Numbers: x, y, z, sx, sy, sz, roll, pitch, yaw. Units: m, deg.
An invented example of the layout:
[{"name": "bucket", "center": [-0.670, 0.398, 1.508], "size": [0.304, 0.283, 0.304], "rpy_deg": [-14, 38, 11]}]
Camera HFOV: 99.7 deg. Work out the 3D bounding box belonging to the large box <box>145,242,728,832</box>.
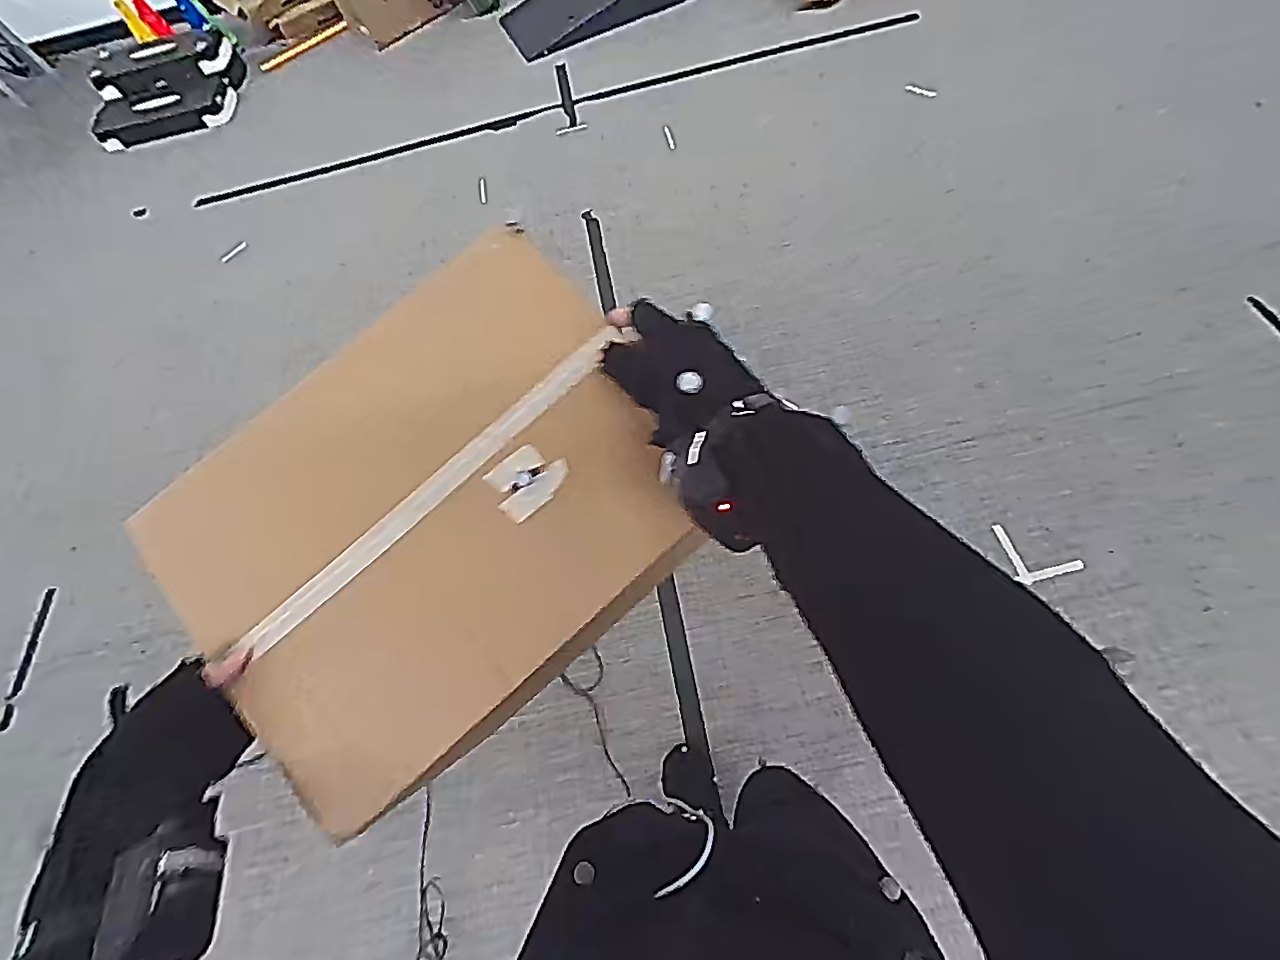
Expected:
[{"name": "large box", "center": [-0.164, 0.053, 0.588], "size": [0.408, 0.320, 0.320], "rpy_deg": [-43, 80, -7]}]
